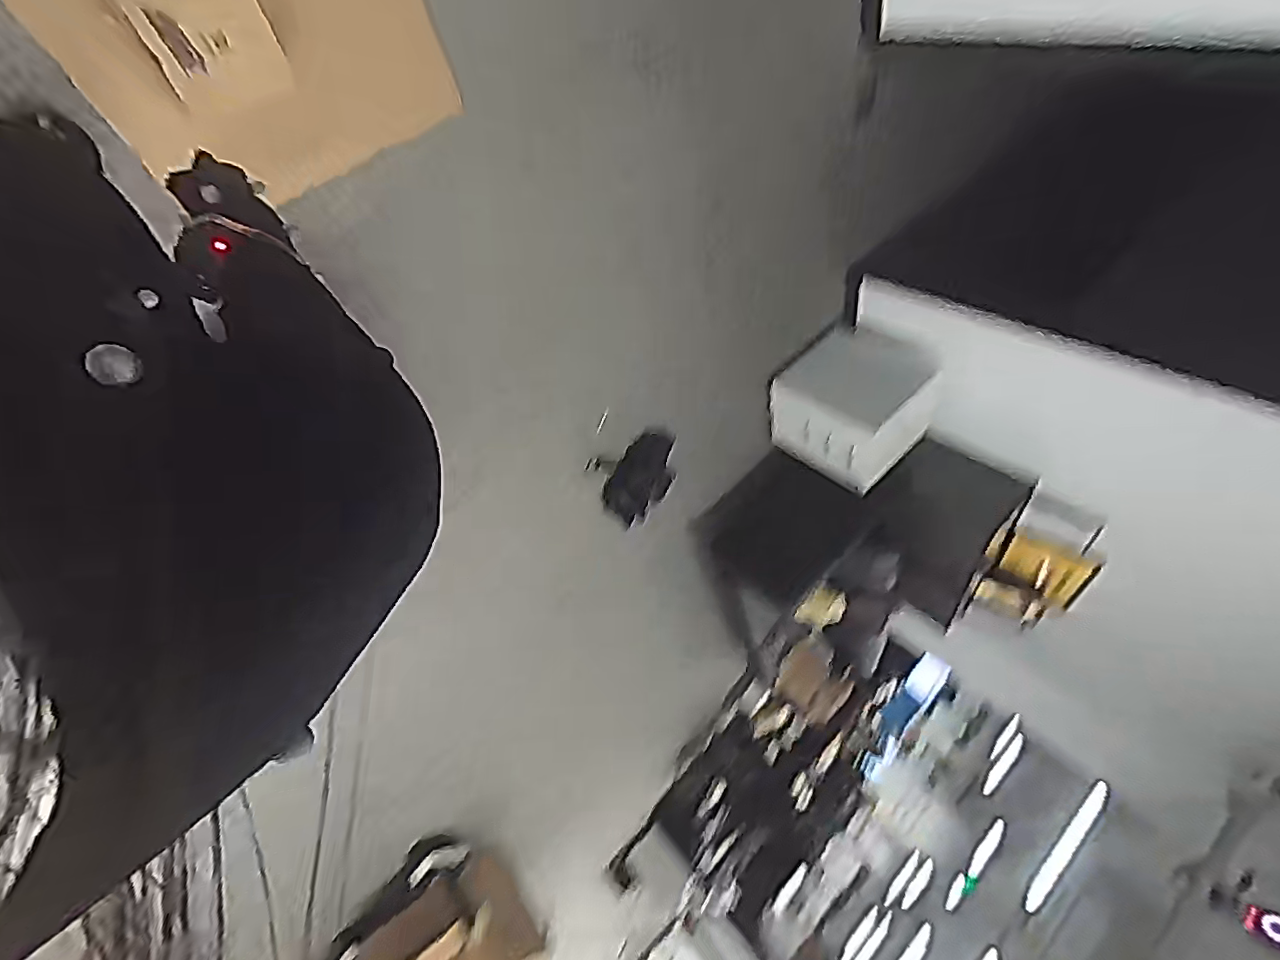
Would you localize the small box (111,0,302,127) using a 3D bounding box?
[{"bbox_3d":[-0.691,-0.688,0.866,0.179,0.176,0.168,-37,141,-22],"label":"small box"}]
